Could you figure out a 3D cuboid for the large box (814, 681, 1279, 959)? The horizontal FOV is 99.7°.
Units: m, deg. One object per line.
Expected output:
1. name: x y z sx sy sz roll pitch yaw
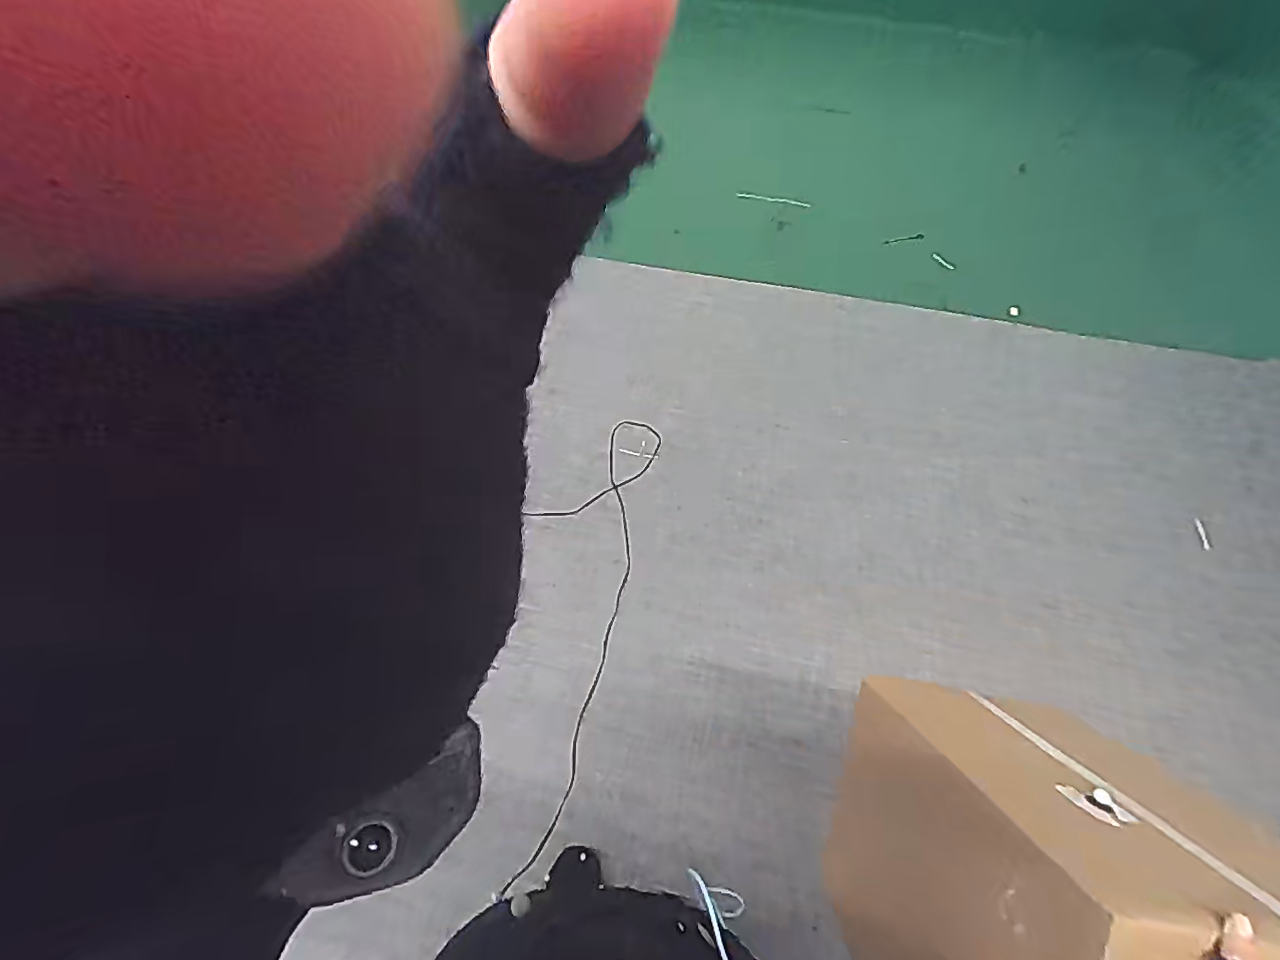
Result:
1. large box: 0.435 0.476 0.581 0.320 0.408 0.320 12 93 -3
